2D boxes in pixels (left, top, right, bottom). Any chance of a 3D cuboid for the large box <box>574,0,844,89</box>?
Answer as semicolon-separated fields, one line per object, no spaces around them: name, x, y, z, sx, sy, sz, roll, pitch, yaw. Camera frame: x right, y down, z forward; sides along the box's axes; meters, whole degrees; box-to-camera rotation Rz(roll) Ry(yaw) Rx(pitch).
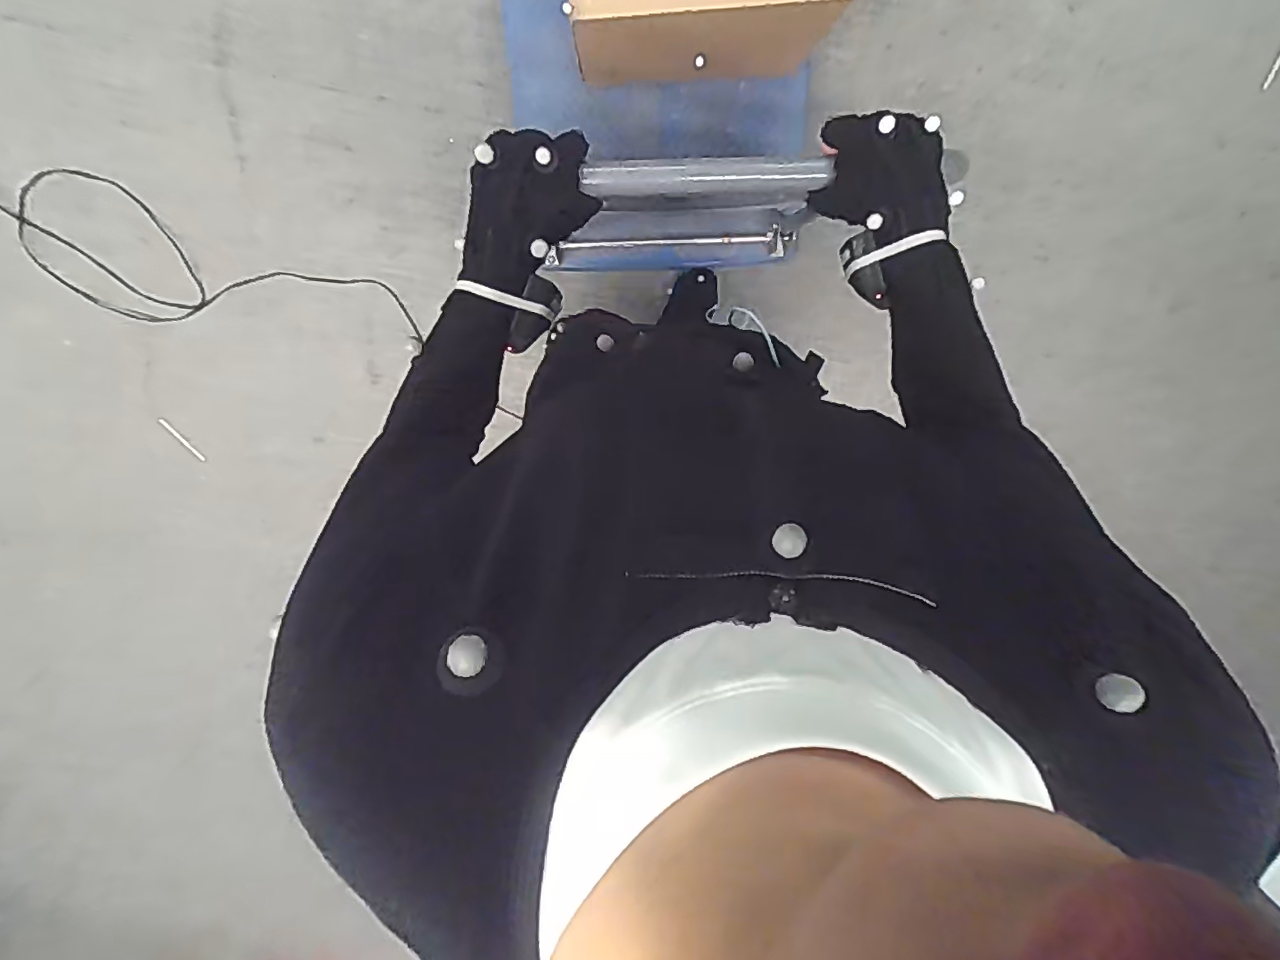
large box;0.091;-0.869;0.863;0.408;0.320;0.320;-5;111;2
